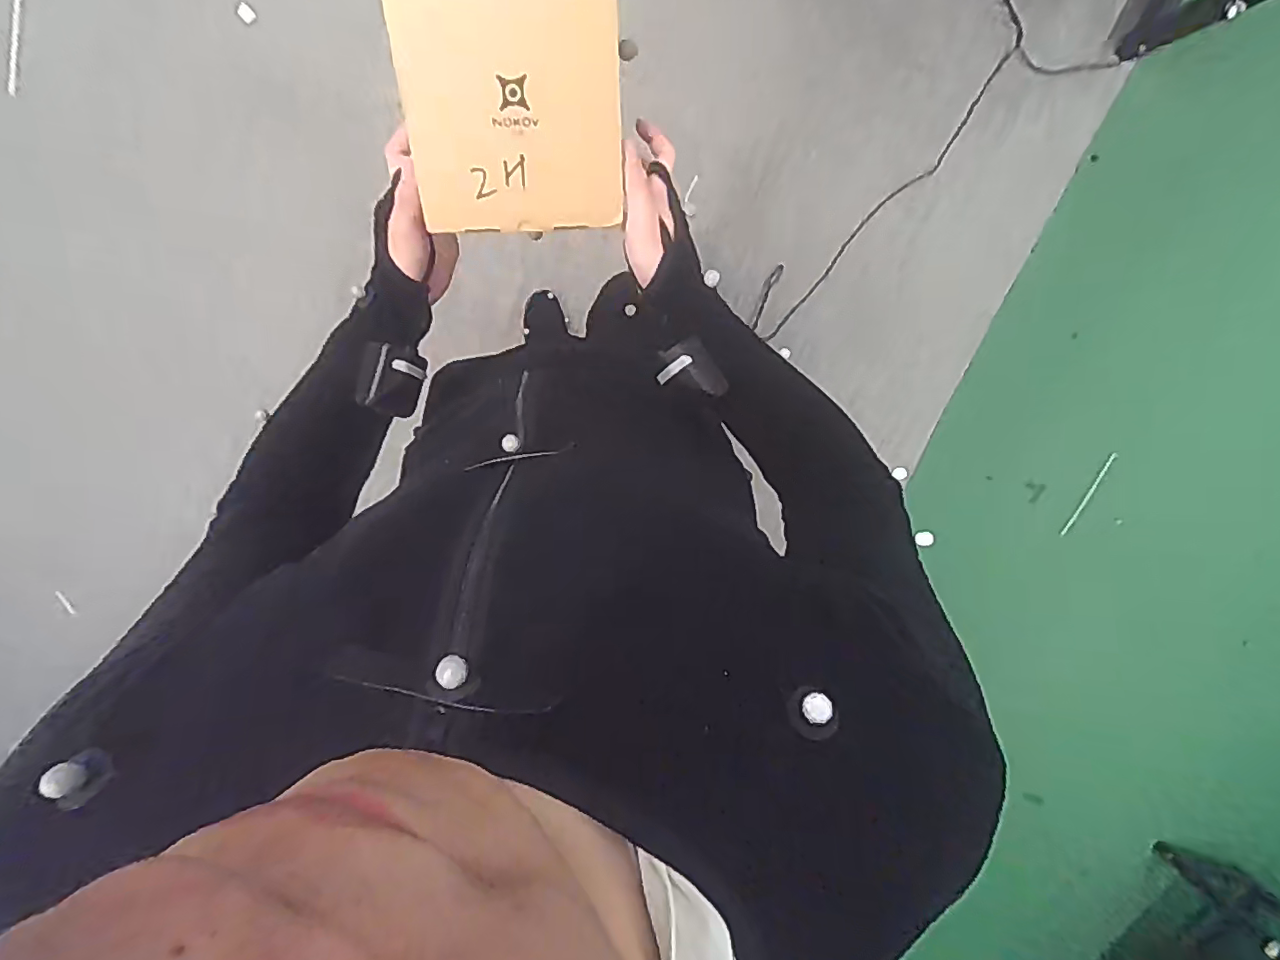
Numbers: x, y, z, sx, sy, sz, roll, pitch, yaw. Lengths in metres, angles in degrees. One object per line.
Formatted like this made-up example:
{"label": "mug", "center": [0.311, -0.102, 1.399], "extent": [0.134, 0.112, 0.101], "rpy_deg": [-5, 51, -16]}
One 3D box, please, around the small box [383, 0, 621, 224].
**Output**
{"label": "small box", "center": [-0.106, -0.329, 0.478], "extent": [0.168, 0.176, 0.179], "rpy_deg": [-3, 120, -4]}
